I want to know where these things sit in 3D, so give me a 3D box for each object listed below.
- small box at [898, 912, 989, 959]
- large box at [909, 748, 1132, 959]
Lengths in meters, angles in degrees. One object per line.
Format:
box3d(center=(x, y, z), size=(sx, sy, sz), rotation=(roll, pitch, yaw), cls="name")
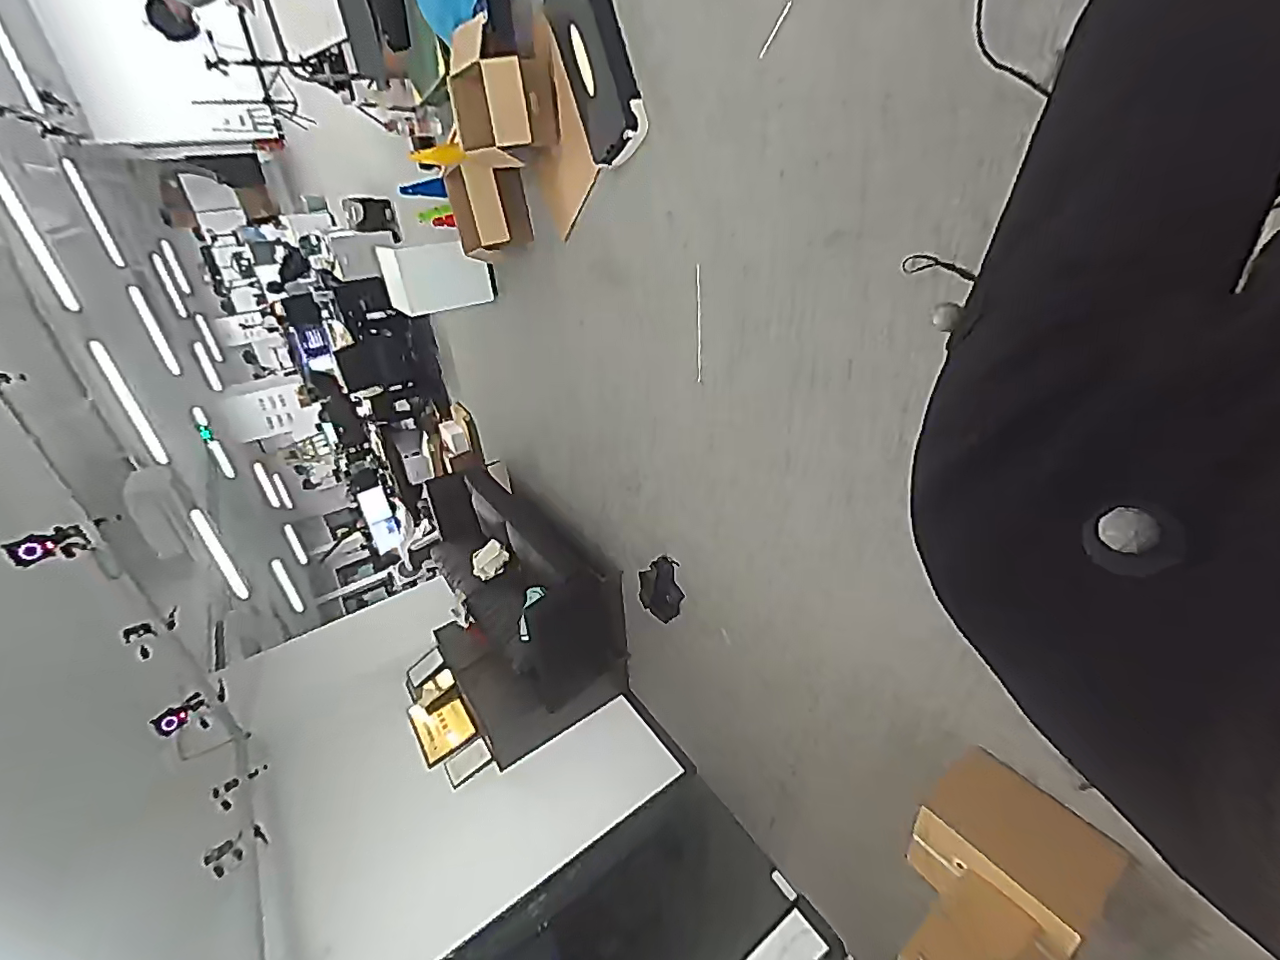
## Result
box3d(center=(0.765, 1.243, 1.346), size=(0.179, 0.176, 0.168), rotation=(33, 136, 49), cls="small box")
box3d(center=(1.076, 1.091, 1.565), size=(0.408, 0.320, 0.320), rotation=(33, 136, 49), cls="large box")
